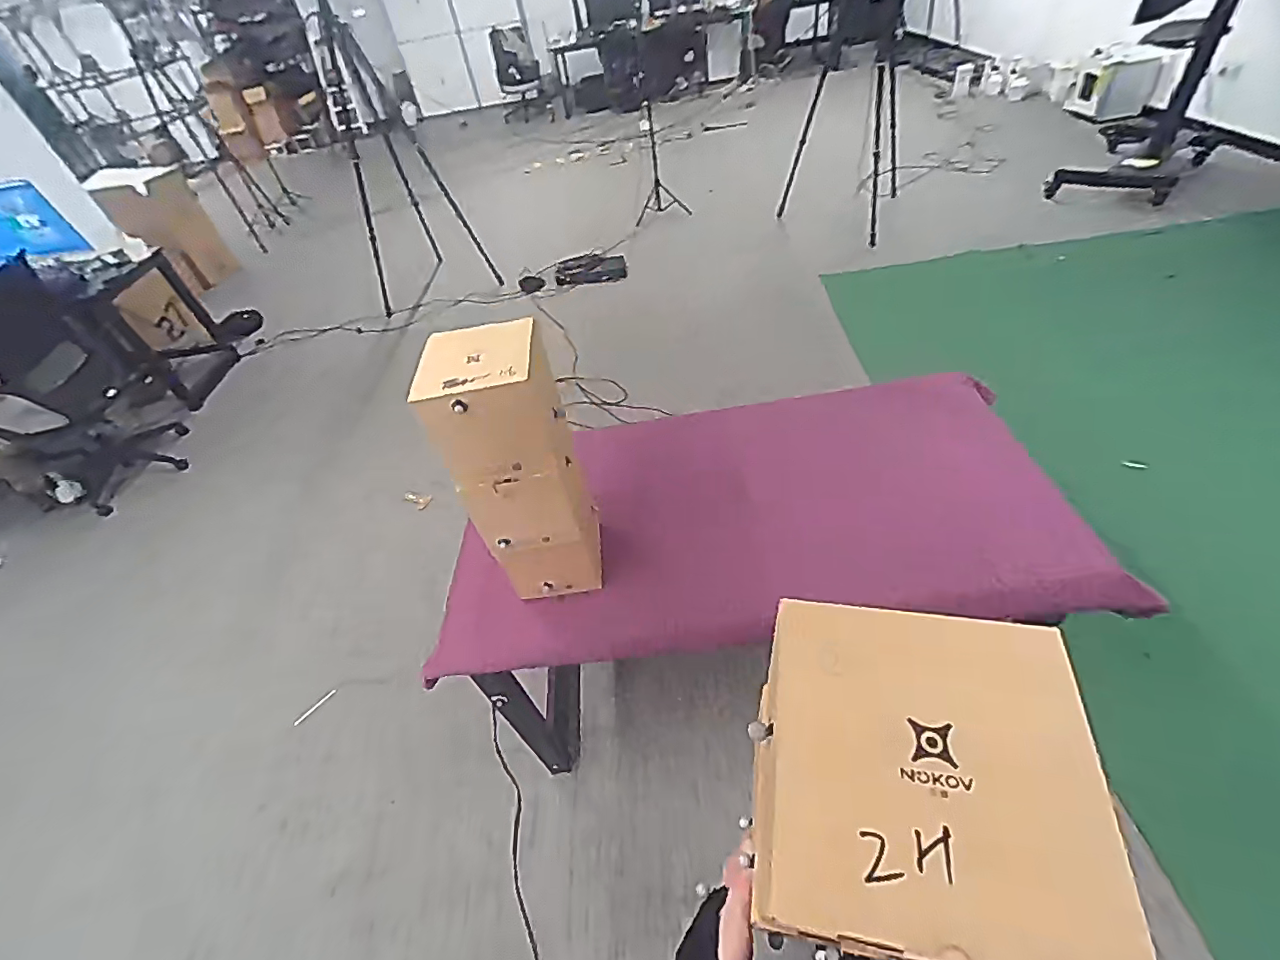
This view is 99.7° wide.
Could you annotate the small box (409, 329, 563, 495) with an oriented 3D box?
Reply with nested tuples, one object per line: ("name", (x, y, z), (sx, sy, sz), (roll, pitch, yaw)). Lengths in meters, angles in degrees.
("small box", (-0.220, -0.103, 0.827), (0.168, 0.176, 0.179), (-10, 43, 3))

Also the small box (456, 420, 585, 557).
("small box", (-0.194, 0.017, 0.934), (0.168, 0.176, 0.179), (-10, 43, 4))

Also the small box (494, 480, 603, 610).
("small box", (-0.170, 0.127, 1.054), (0.168, 0.176, 0.179), (-9, 45, 4))

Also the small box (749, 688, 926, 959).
("small box", (0.187, 0.306, 0.482), (0.168, 0.176, 0.179), (3, 52, 13))

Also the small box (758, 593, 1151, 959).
("small box", (0.168, 0.199, 0.359), (0.168, 0.176, 0.179), (3, 52, 13))
